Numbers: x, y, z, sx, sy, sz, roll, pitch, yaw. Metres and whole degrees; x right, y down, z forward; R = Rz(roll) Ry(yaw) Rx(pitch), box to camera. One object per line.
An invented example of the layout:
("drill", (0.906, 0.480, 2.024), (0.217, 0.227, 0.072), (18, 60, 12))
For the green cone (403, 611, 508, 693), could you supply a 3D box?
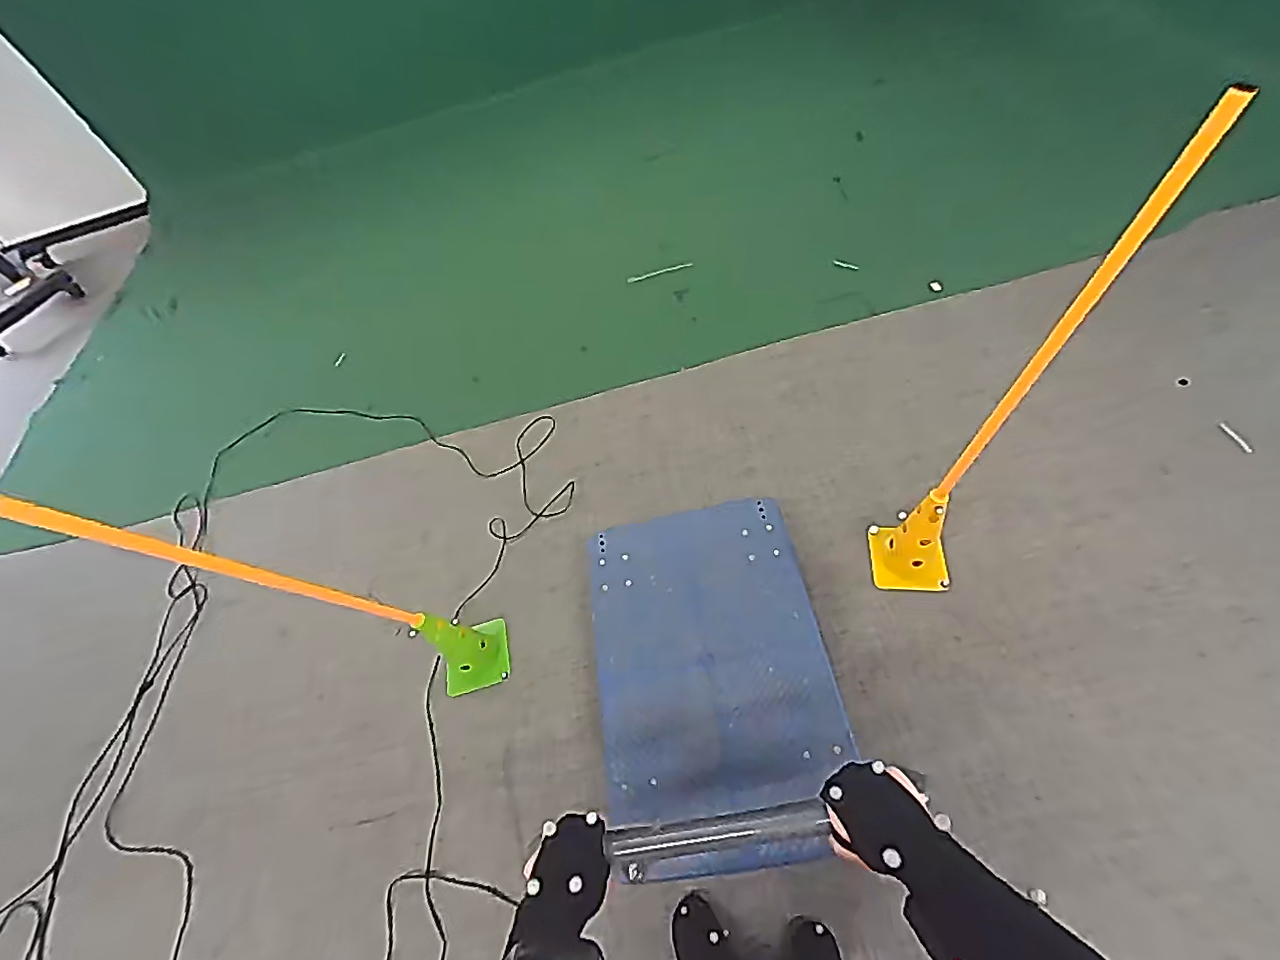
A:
("green cone", (-0.544, 0.442, 1.528), (0.202, 0.368, 0.200), (-19, 55, 2))
